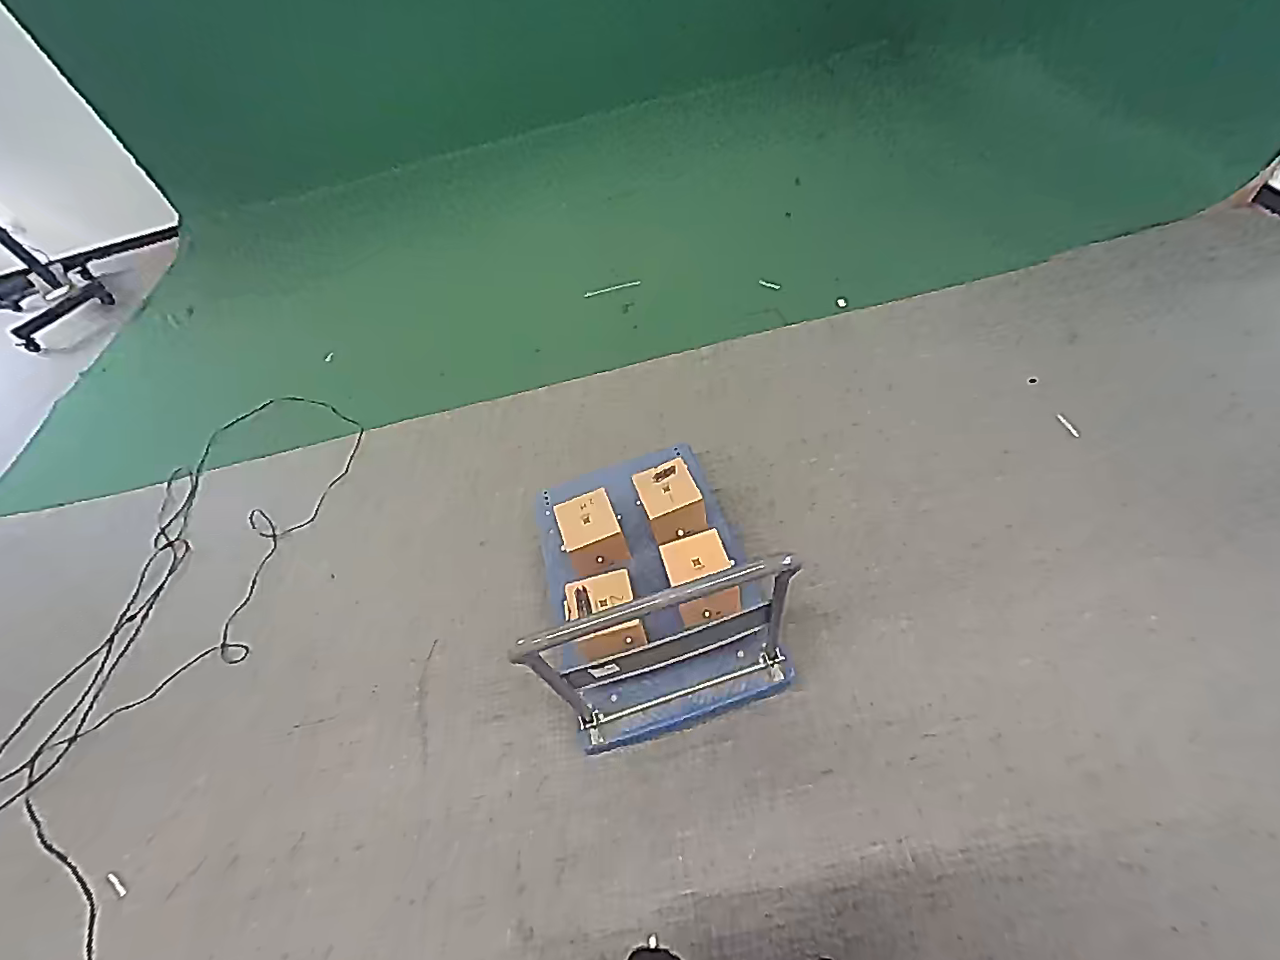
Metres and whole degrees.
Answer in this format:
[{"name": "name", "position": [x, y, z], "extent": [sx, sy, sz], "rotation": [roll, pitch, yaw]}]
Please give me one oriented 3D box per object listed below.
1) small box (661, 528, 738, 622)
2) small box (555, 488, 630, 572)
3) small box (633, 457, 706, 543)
[{"name": "small box", "position": [0.165, 0.267, 1.503], "extent": [0.168, 0.176, 0.179], "rotation": [-18, 52, -1]}, {"name": "small box", "position": [-0.141, 0.160, 1.652], "extent": [0.168, 0.176, 0.179], "rotation": [-21, 52, -4]}, {"name": "small box", "position": [0.092, 0.067, 1.670], "extent": [0.168, 0.176, 0.179], "rotation": [-22, 53, -3]}]
